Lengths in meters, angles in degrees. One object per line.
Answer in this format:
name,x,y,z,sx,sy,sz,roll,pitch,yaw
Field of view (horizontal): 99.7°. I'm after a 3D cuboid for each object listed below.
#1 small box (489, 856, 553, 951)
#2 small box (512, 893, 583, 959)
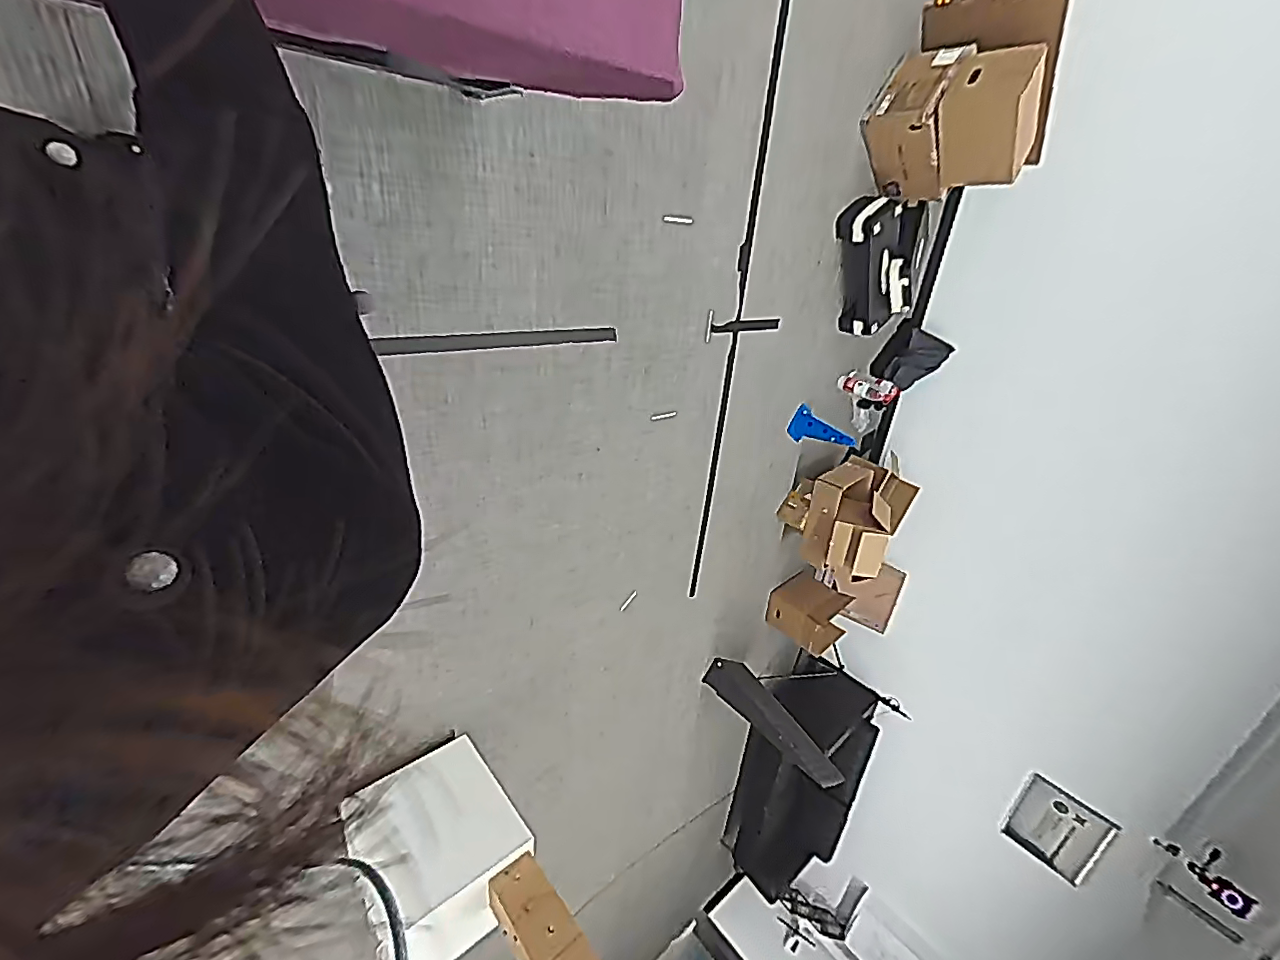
small box,-0.424,1.494,1.920,0.168,0.176,0.179,-16,125,-38
small box,-0.315,1.555,1.812,0.179,0.176,0.168,-16,125,-39
